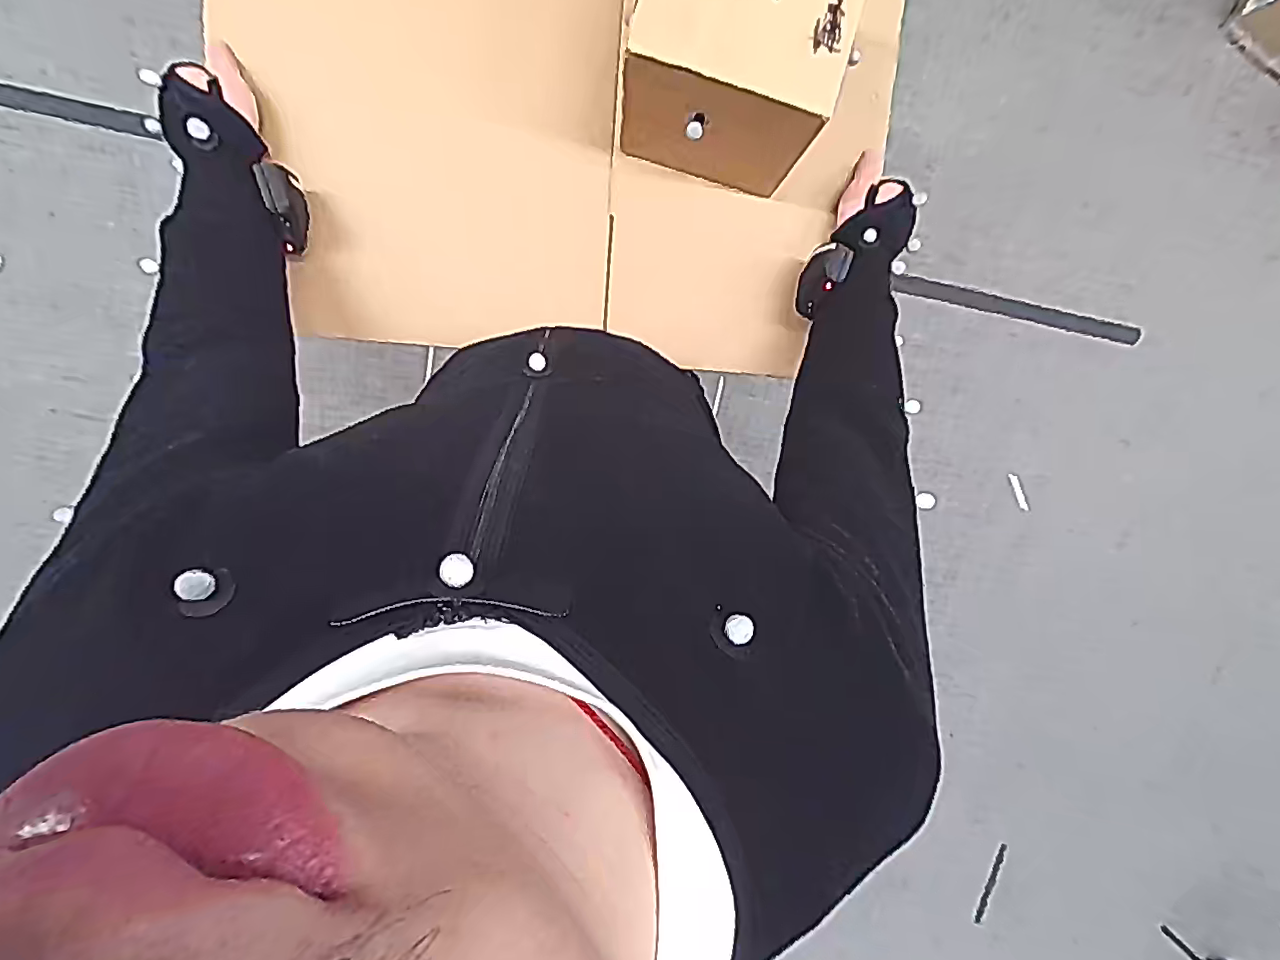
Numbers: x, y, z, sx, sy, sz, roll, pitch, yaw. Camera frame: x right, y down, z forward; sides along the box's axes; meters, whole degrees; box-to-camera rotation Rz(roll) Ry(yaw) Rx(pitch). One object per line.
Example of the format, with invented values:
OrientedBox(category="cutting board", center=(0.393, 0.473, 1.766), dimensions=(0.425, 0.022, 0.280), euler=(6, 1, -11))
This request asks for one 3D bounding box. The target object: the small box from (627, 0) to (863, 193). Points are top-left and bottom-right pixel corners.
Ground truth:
OrientedBox(category="small box", center=(0.090, -0.403, 0.511), dimensions=(0.179, 0.176, 0.168), euler=(15, 96, -4))
